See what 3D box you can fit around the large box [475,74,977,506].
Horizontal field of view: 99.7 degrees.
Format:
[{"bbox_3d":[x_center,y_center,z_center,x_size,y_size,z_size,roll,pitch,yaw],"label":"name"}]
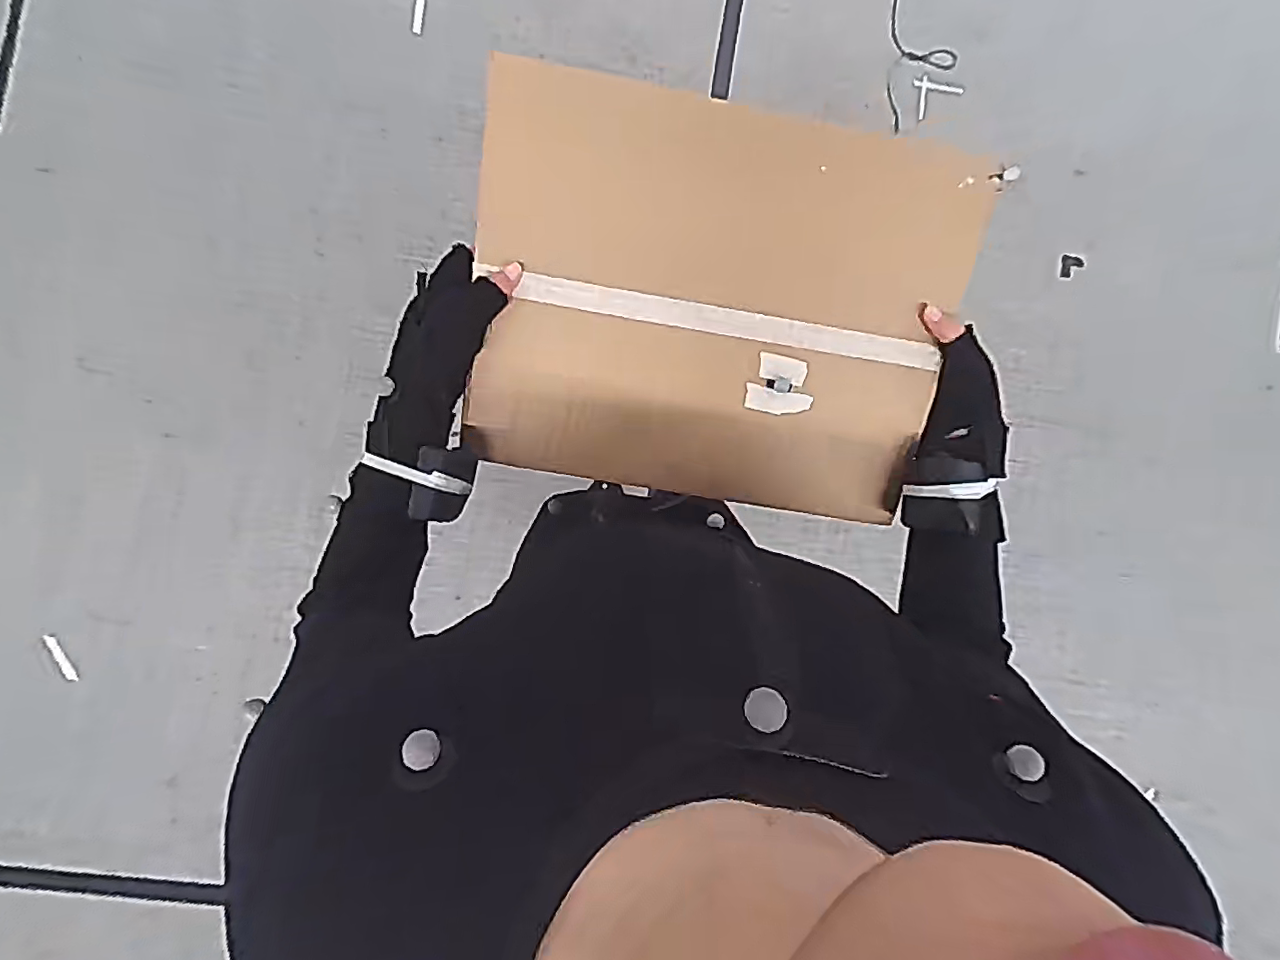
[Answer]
[{"bbox_3d":[0.058,-0.188,0.619,0.408,0.320,0.320,9,107,-4],"label":"large box"}]
